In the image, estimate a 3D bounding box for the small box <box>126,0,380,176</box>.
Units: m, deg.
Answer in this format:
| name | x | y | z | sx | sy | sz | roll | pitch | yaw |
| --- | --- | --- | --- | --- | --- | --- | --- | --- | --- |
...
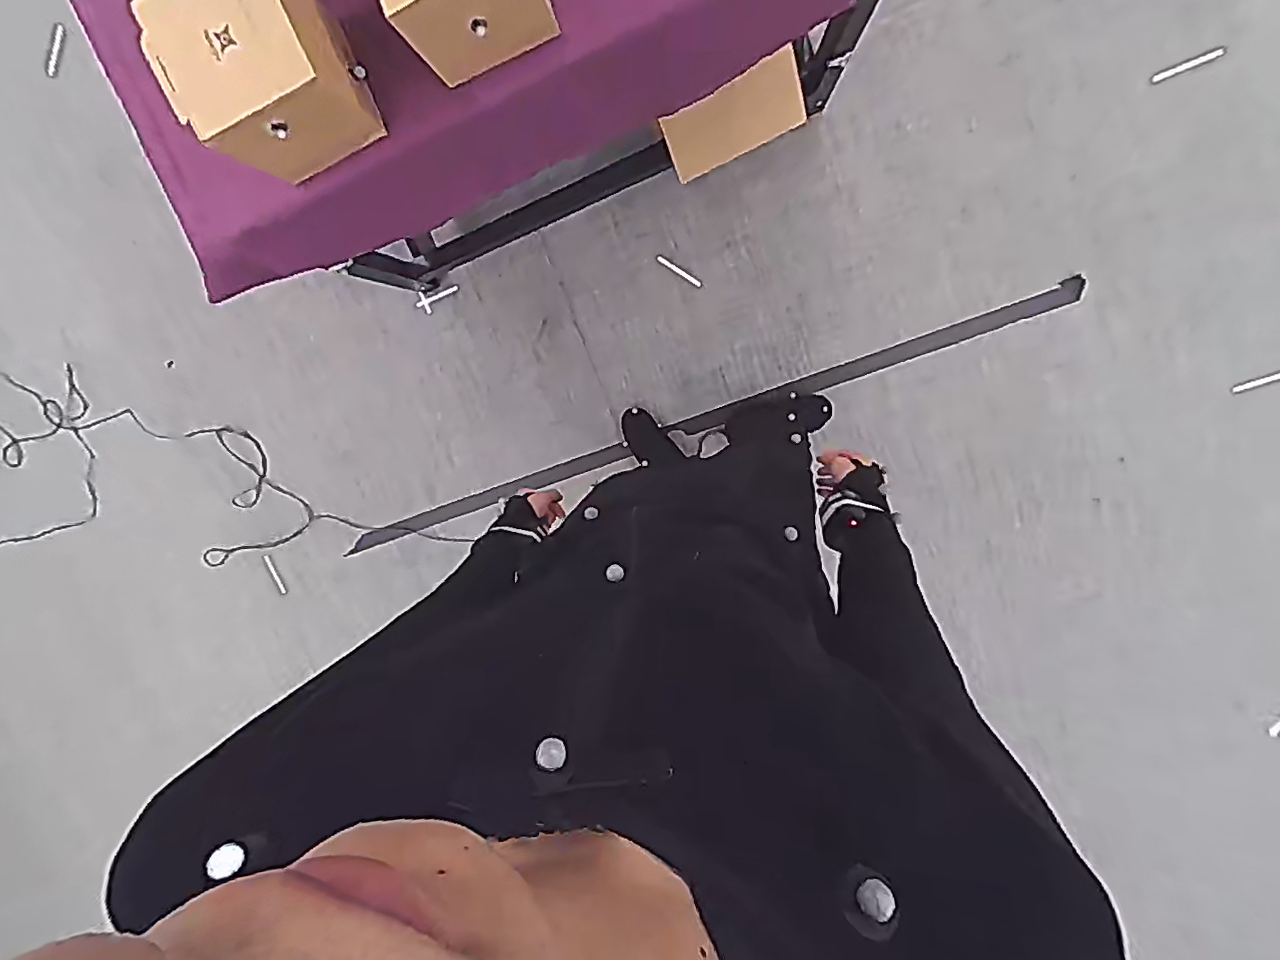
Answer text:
| name | x | y | z | sx | sy | sz | roll | pitch | yaw |
| --- | --- | --- | --- | --- | --- | --- | --- | --- | --- |
| small box | -0.487 | -0.535 | 0.709 | 0.179 | 0.176 | 0.168 | -21 | 100 | 9 |
